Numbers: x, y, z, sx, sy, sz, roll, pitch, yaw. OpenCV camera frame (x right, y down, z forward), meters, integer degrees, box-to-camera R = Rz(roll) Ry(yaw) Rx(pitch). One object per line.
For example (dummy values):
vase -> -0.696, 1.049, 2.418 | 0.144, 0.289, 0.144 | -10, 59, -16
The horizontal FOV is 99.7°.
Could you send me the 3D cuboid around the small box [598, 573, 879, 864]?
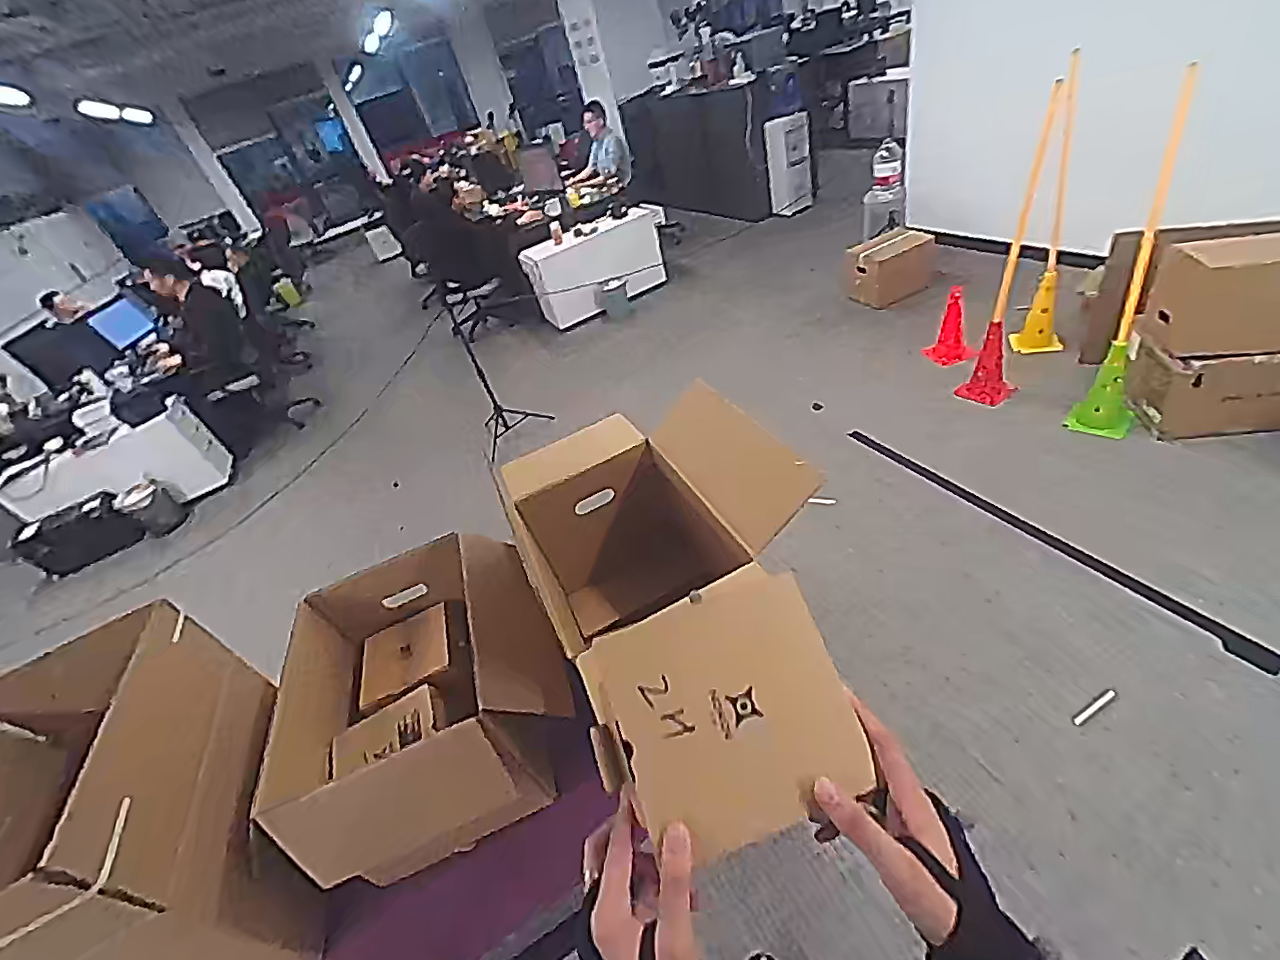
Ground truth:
small box -> 0.071, 0.201, 0.488 | 0.179, 0.176, 0.168 | -18, 69, -7
